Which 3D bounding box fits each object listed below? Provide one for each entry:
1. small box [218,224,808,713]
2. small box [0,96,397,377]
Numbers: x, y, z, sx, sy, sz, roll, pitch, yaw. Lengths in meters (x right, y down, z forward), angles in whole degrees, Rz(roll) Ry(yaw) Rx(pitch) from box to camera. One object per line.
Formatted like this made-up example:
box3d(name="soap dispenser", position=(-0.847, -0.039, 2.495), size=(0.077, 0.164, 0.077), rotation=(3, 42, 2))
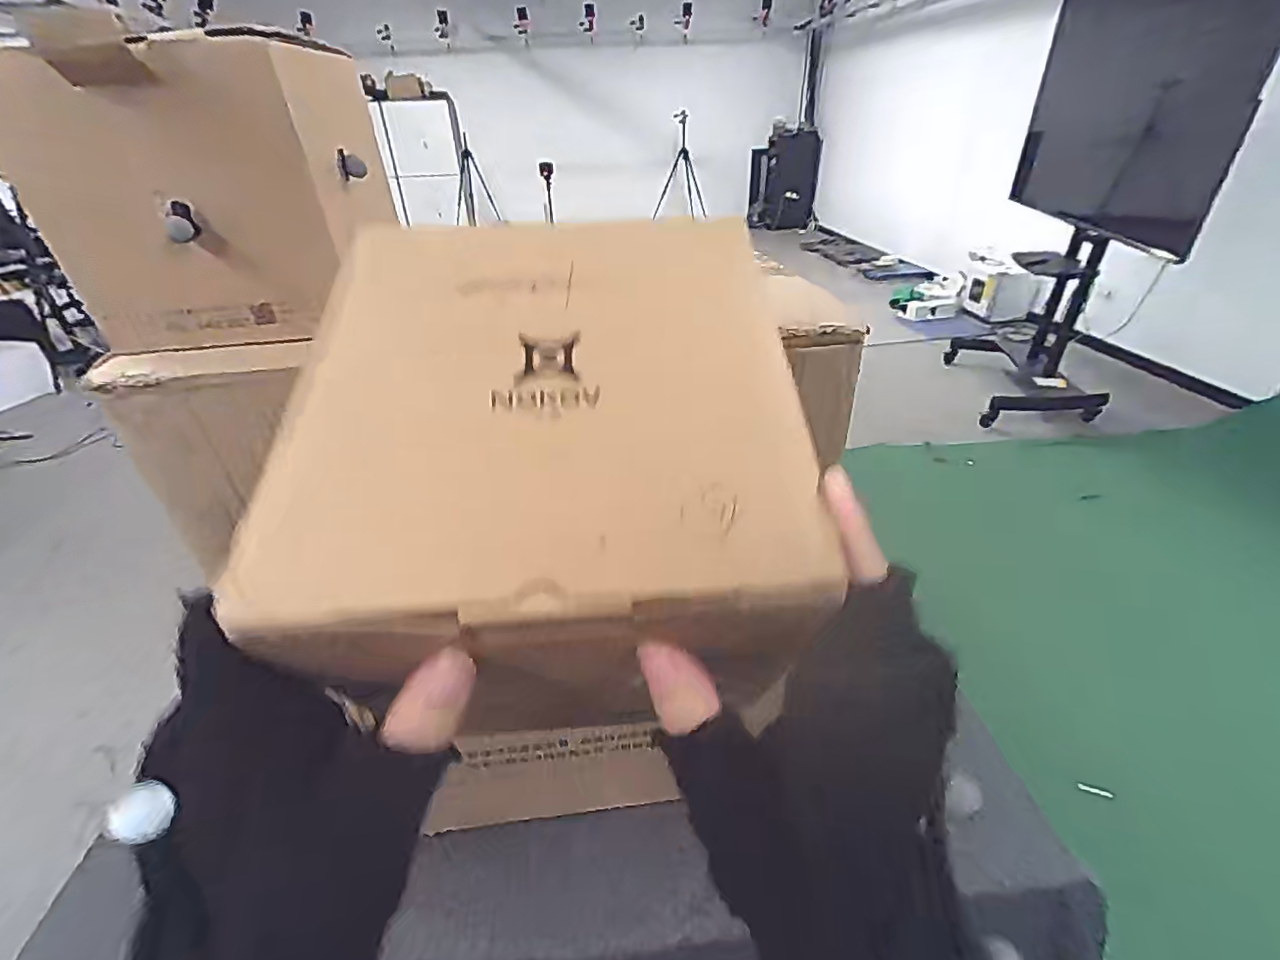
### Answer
box3d(name="small box", position=(-0.037, 0.005, 0.259), size=(0.168, 0.176, 0.179), rotation=(-2, 54, -2))
box3d(name="small box", position=(-0.290, -0.186, 0.419), size=(0.168, 0.176, 0.179), rotation=(-9, 35, -7))
